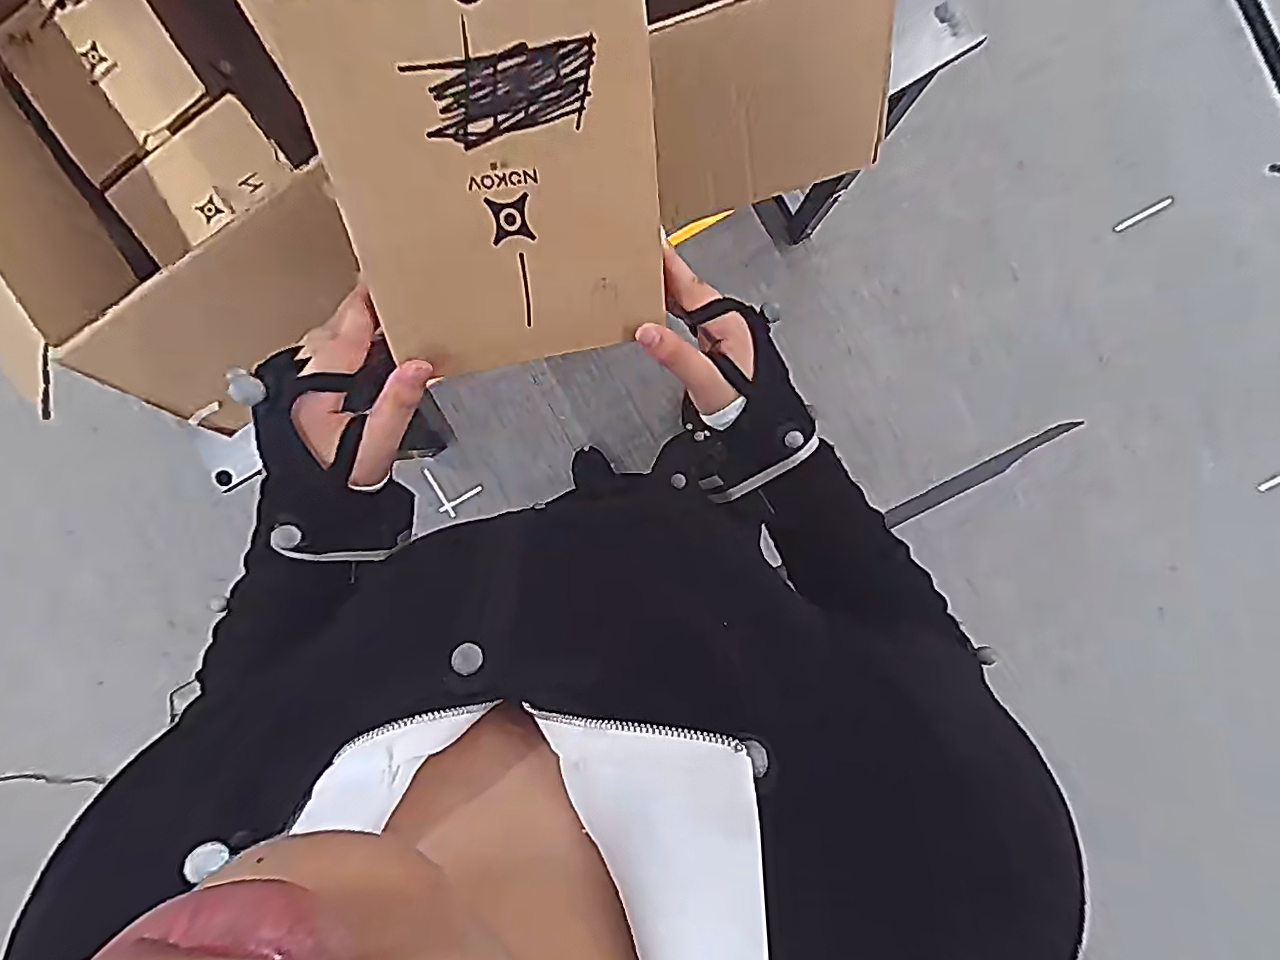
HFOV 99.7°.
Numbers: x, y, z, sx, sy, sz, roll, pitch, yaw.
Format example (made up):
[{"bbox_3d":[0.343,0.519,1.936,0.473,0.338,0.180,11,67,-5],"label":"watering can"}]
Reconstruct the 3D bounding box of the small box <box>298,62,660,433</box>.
[{"bbox_3d":[-0.094,-0.157,0.365,0.168,0.176,0.179,-13,124,-12],"label":"small box"}]
